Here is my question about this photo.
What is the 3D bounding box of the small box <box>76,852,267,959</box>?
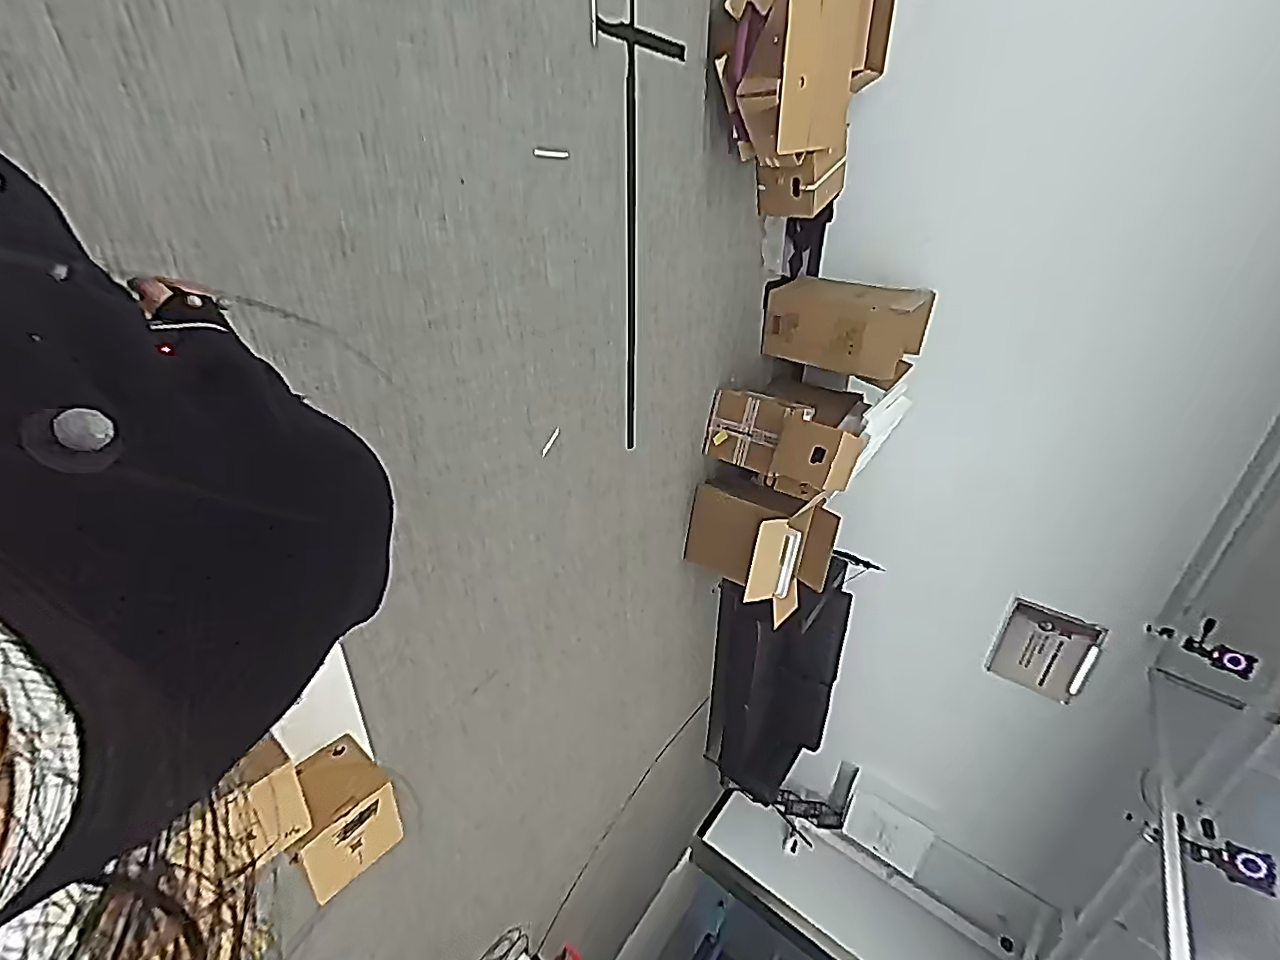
[{"bbox_3d":[-0.743,0.728,0.865,0.168,0.176,0.179,-31,129,-47],"label":"small box"}]

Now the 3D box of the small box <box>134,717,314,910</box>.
[{"bbox_3d":[-0.661,0.513,0.864,0.168,0.176,0.179,-26,128,-47],"label":"small box"}]

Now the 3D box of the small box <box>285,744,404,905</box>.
[{"bbox_3d":[-0.588,0.647,1.045,0.168,0.176,0.179,-27,129,-46],"label":"small box"}]
